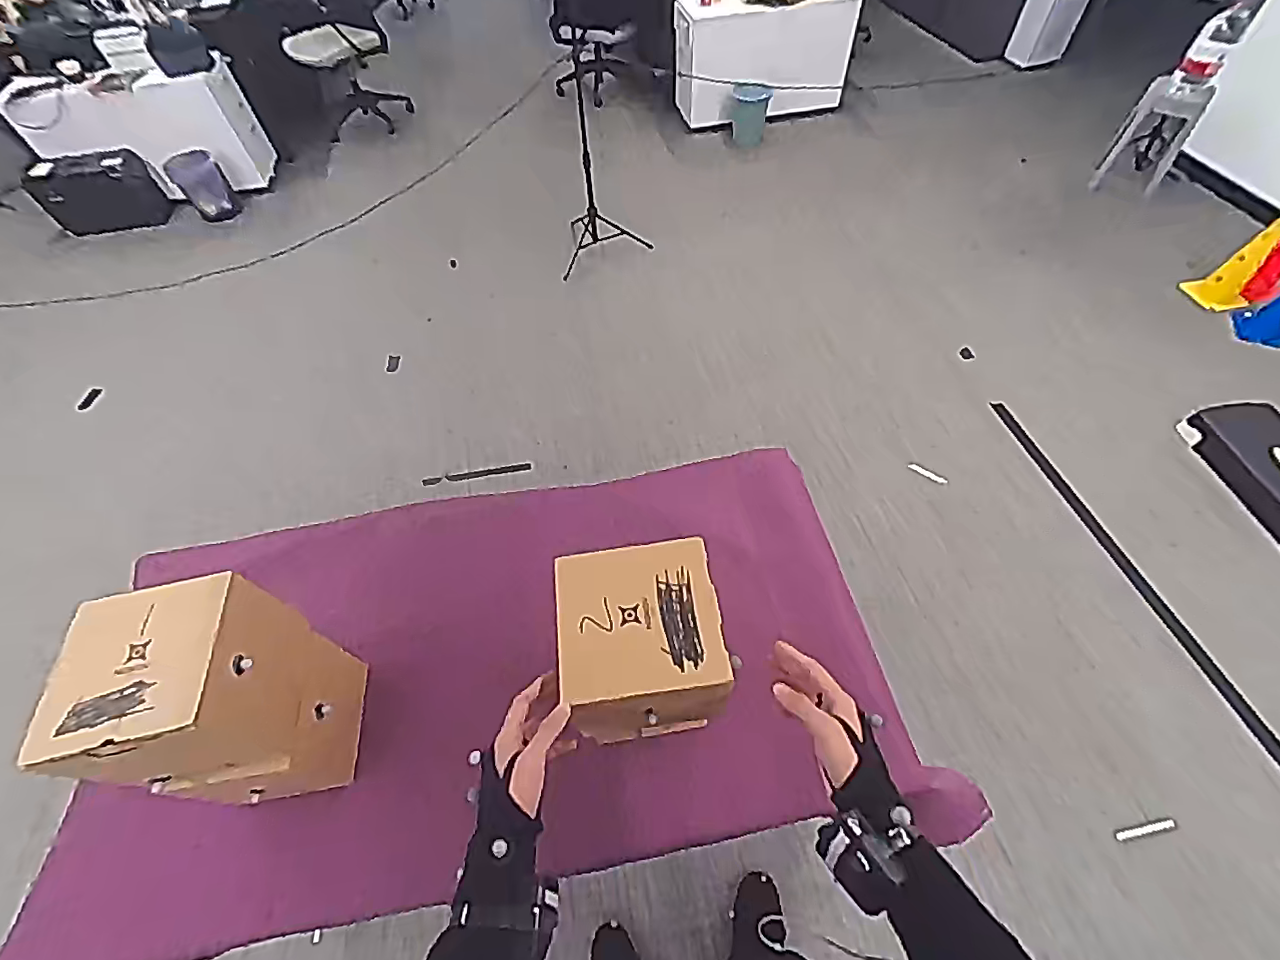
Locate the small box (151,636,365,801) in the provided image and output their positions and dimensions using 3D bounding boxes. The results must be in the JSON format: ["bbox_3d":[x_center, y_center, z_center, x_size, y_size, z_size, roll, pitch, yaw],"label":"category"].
[{"bbox_3d":[-0.514,0.341,0.762,0.168,0.176,0.179,-8,55,-3],"label":"small box"}]

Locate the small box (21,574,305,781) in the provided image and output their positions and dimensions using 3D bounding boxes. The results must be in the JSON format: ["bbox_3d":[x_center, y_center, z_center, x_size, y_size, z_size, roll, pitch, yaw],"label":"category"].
[{"bbox_3d":[-0.526,0.238,0.634,0.168,0.176,0.179,-11,55,-6],"label":"small box"}]

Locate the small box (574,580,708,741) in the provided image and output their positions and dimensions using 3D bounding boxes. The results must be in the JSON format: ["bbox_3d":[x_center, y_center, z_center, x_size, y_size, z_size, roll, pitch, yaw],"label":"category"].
[{"bbox_3d":[0.001,0.270,0.791,0.168,0.176,0.179,-9,54,-3],"label":"small box"}]
